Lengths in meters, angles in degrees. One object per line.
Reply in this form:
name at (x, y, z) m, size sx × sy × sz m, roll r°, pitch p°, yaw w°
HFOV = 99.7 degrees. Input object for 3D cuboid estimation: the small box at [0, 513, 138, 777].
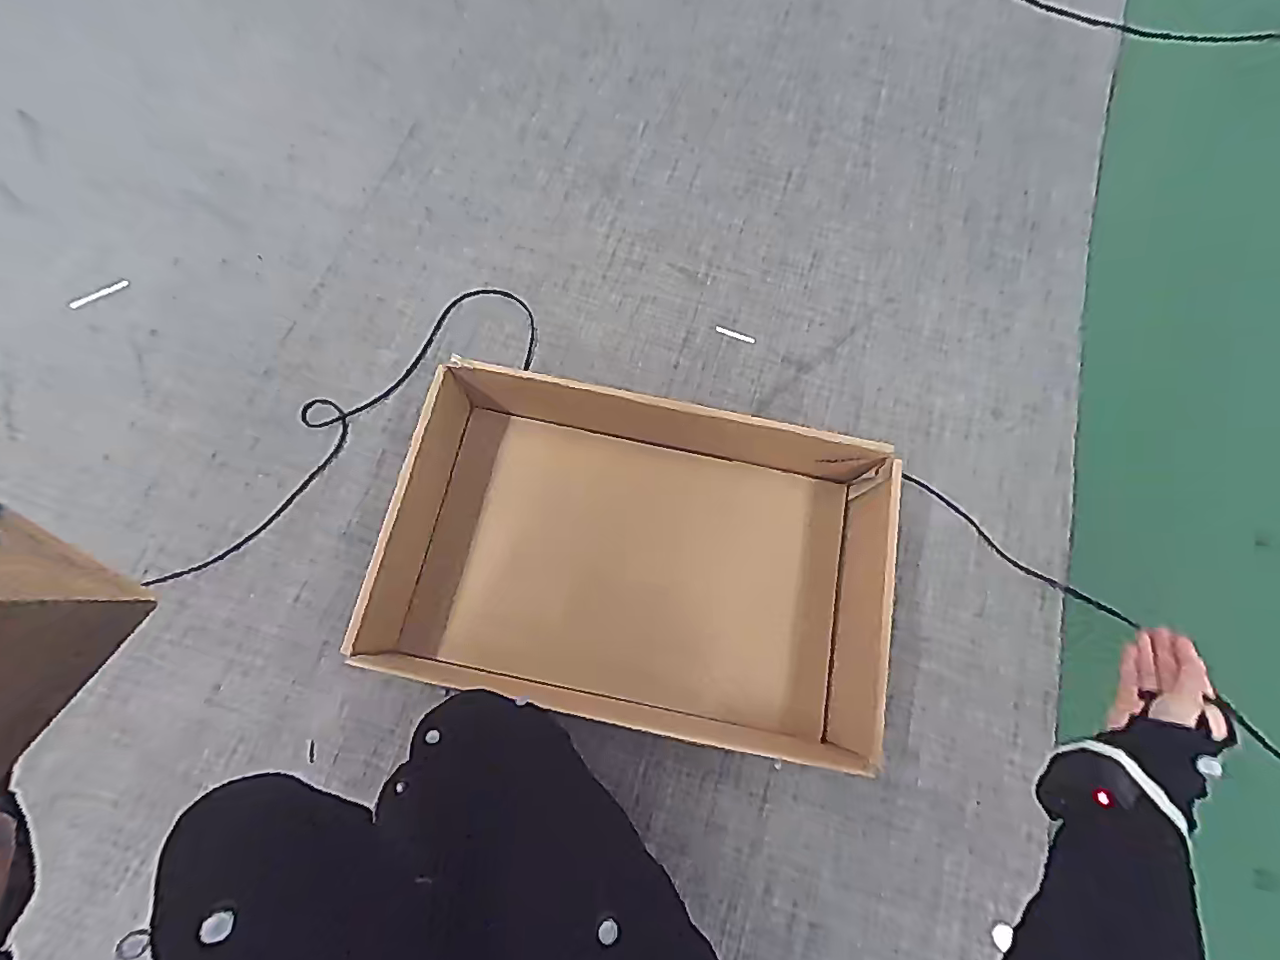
small box at (-0.377, 0.085, 0.213) m, size 0.168 × 0.176 × 0.179 m, roll 34°, pitch 71°, yaw -4°
